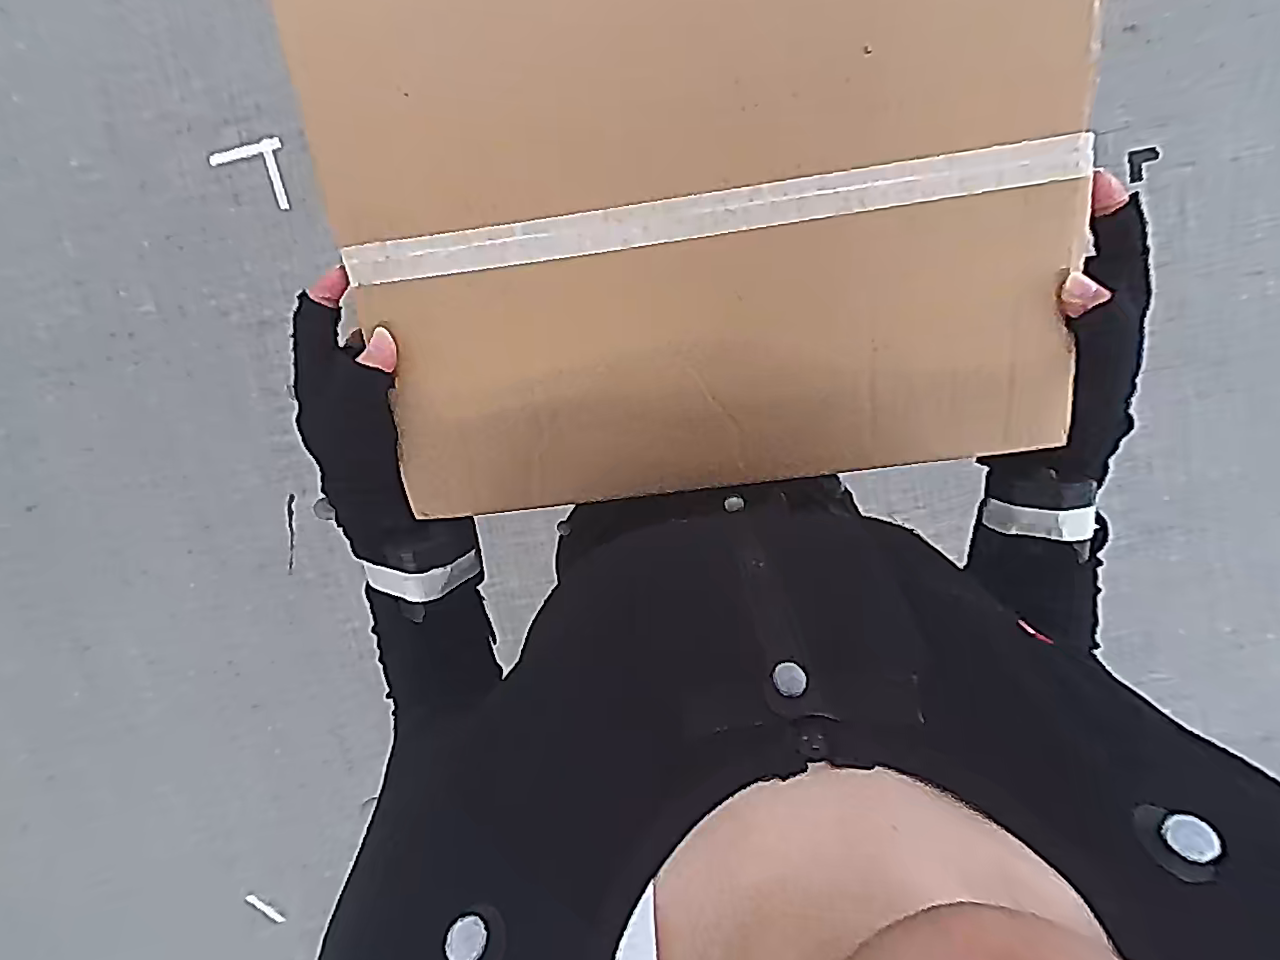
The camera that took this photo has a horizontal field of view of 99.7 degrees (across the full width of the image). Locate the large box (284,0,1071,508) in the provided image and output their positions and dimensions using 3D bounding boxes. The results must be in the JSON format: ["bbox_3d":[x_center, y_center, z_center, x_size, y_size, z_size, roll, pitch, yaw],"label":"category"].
[{"bbox_3d":[0.034,-0.195,0.448,0.408,0.320,0.320,-7,106,3],"label":"large box"}]
